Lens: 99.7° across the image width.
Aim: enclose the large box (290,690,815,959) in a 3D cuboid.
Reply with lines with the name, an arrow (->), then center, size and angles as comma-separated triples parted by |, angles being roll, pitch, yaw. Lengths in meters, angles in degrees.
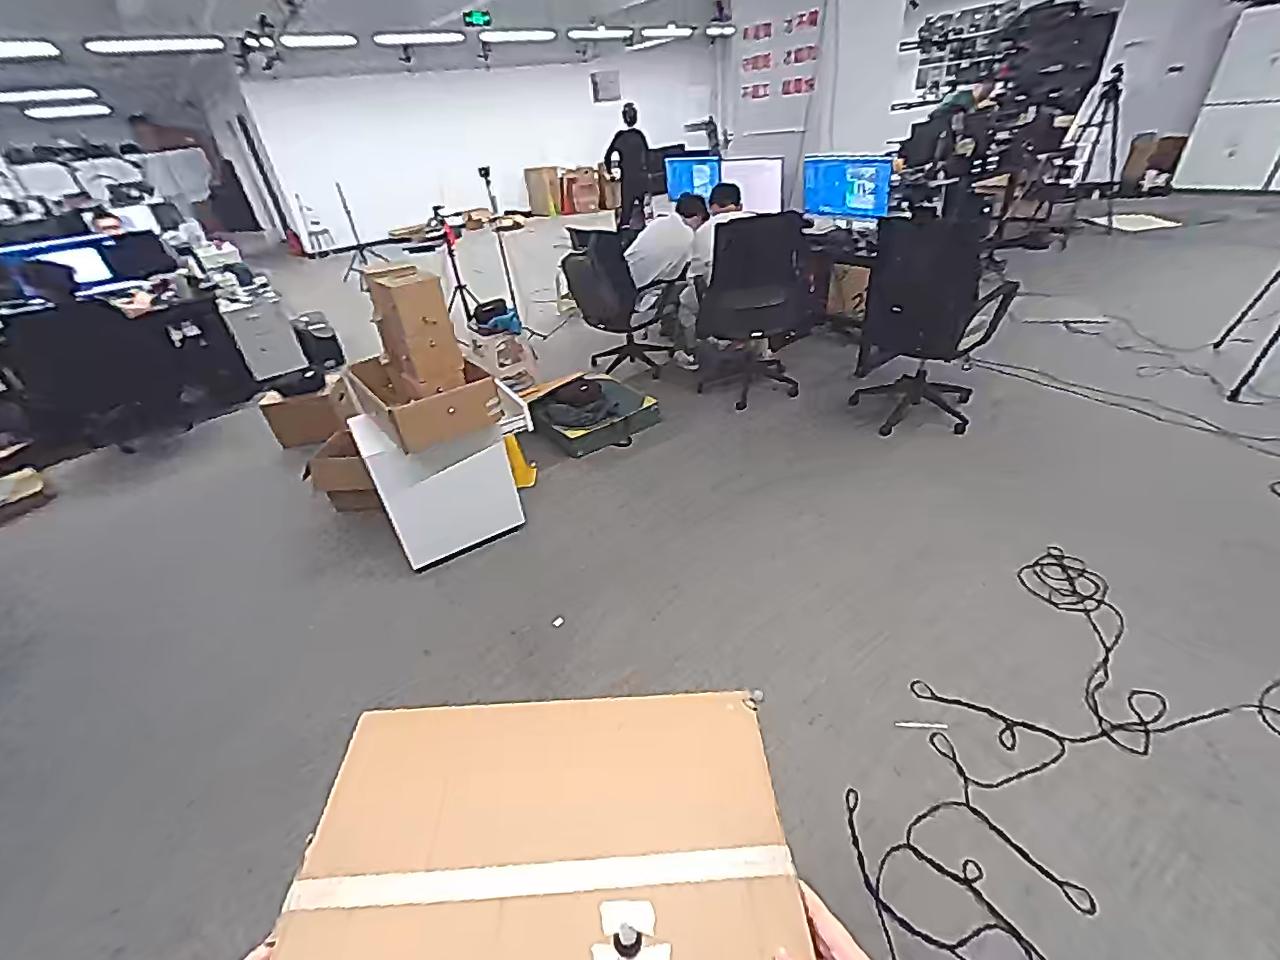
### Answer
large box -> -0.071, 0.445, 0.545 | 0.408, 0.320, 0.320 | -1, 37, -3
